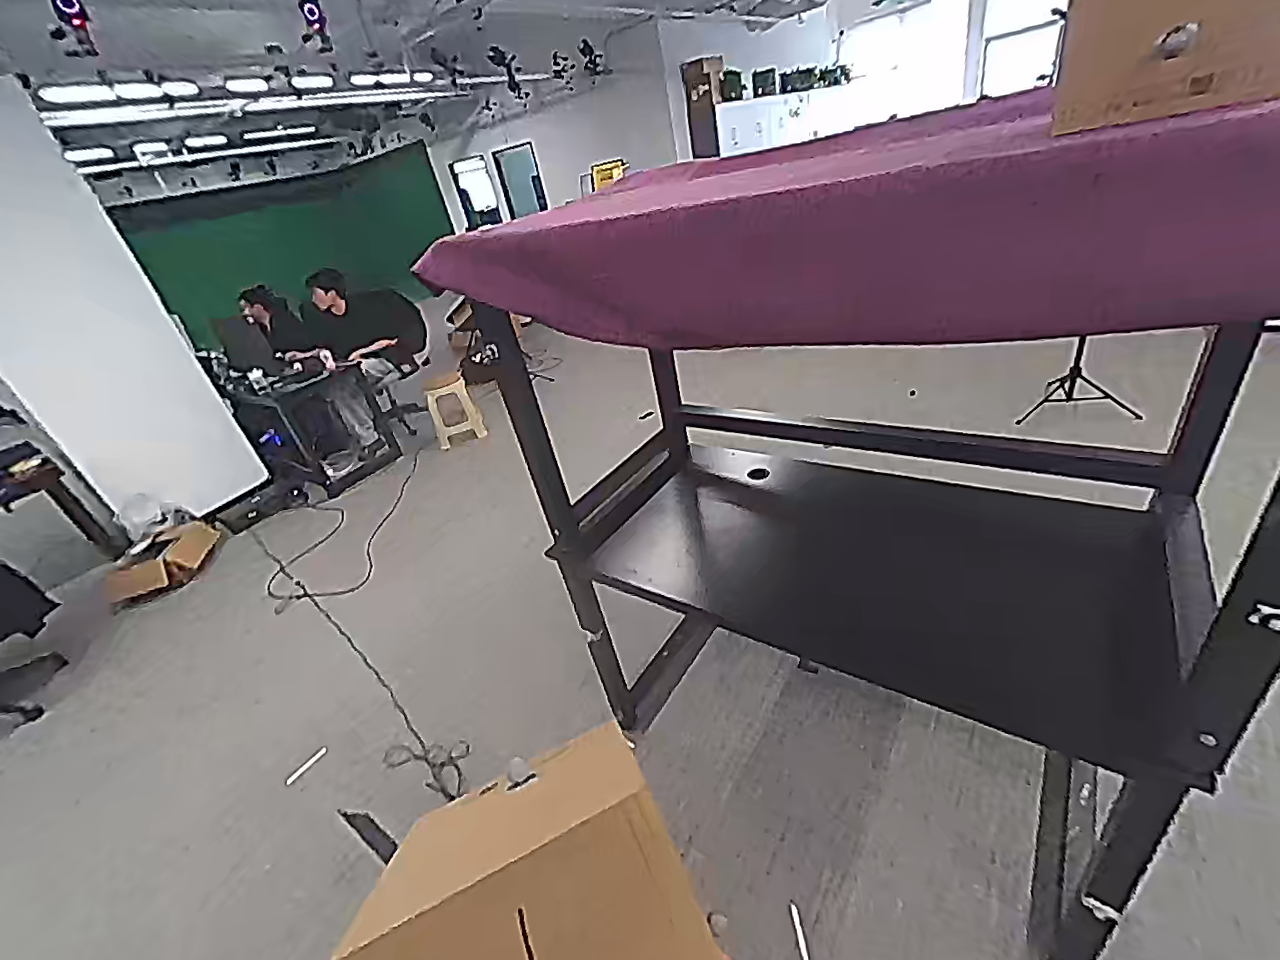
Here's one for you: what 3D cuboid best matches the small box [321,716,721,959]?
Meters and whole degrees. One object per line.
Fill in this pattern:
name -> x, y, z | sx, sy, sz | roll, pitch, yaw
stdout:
small box -> -0.048, 0.273, 0.325 | 0.168, 0.179, 0.176 | -22, -9, -13

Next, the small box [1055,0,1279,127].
small box -> 0.501, -0.437, 0.491 | 0.168, 0.176, 0.179 | 13, 39, 39
